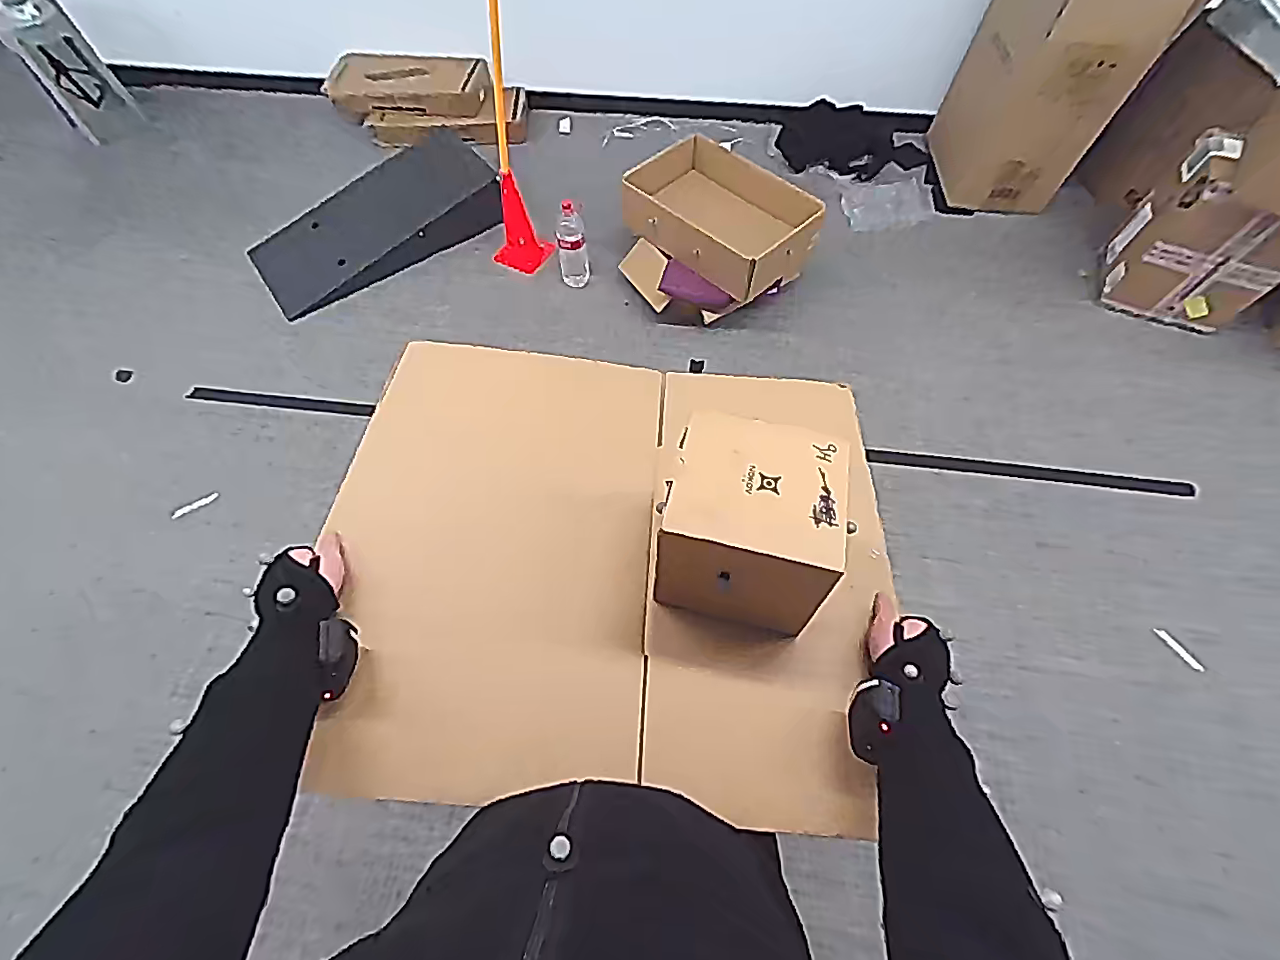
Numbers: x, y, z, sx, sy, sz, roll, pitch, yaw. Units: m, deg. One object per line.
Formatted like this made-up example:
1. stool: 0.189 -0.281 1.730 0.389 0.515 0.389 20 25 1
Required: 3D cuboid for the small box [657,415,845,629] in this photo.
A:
1. small box: 0.120 0.053 0.620 0.179 0.176 0.168 11 56 8
